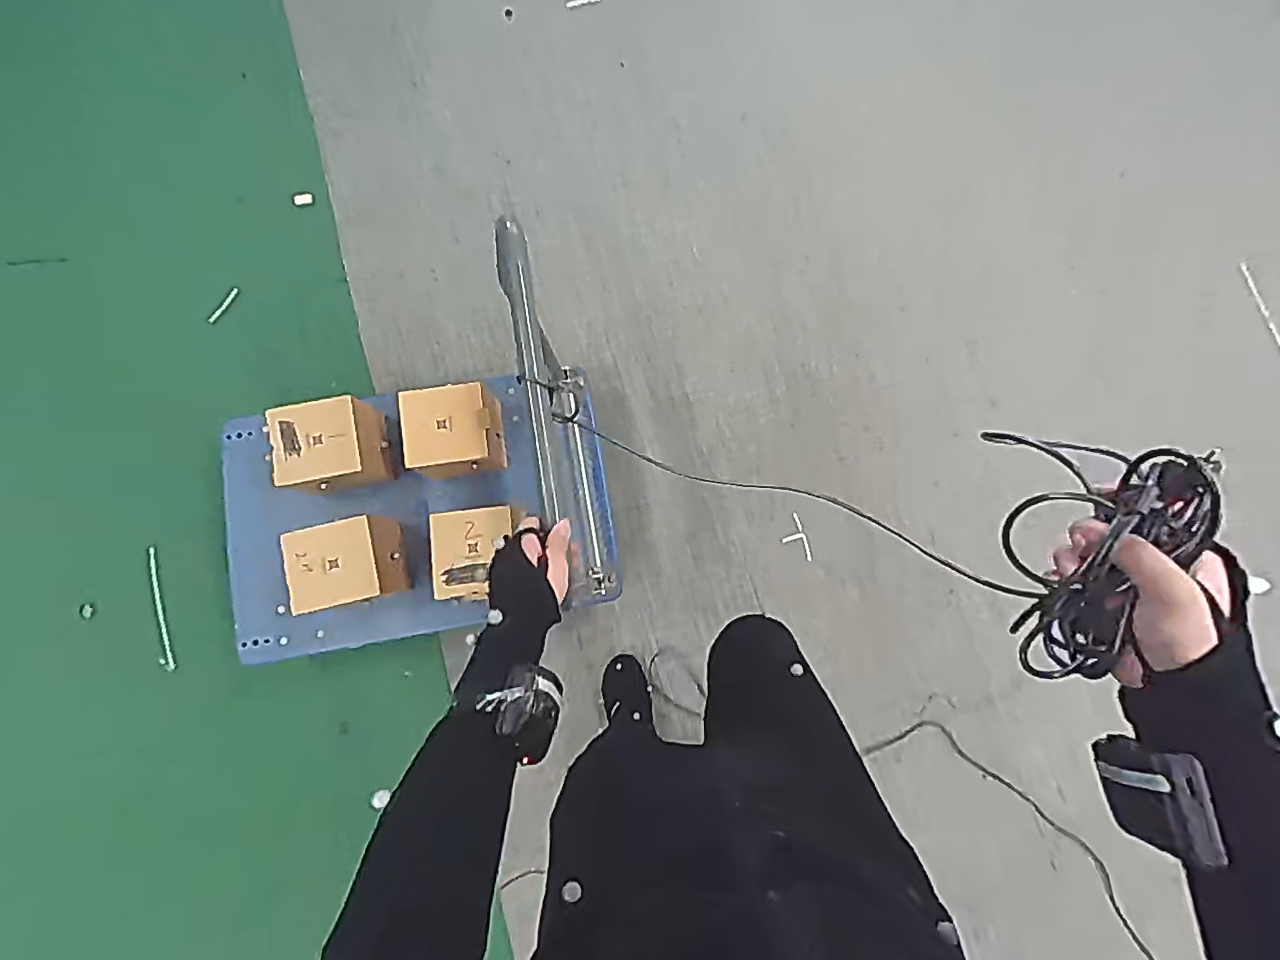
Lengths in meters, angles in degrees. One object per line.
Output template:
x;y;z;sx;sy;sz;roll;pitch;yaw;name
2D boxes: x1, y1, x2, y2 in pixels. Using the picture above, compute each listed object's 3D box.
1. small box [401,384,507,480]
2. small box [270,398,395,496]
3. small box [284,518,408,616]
-0.408;-0.100;1.205;0.179;0.176;0.168;-8;82;-4;small box
-0.668;-0.066;1.189;0.179;0.176;0.168;-11;83;-4;small box
-0.614;0.183;1.154;0.179;0.176;0.168;-13;81;-4;small box
